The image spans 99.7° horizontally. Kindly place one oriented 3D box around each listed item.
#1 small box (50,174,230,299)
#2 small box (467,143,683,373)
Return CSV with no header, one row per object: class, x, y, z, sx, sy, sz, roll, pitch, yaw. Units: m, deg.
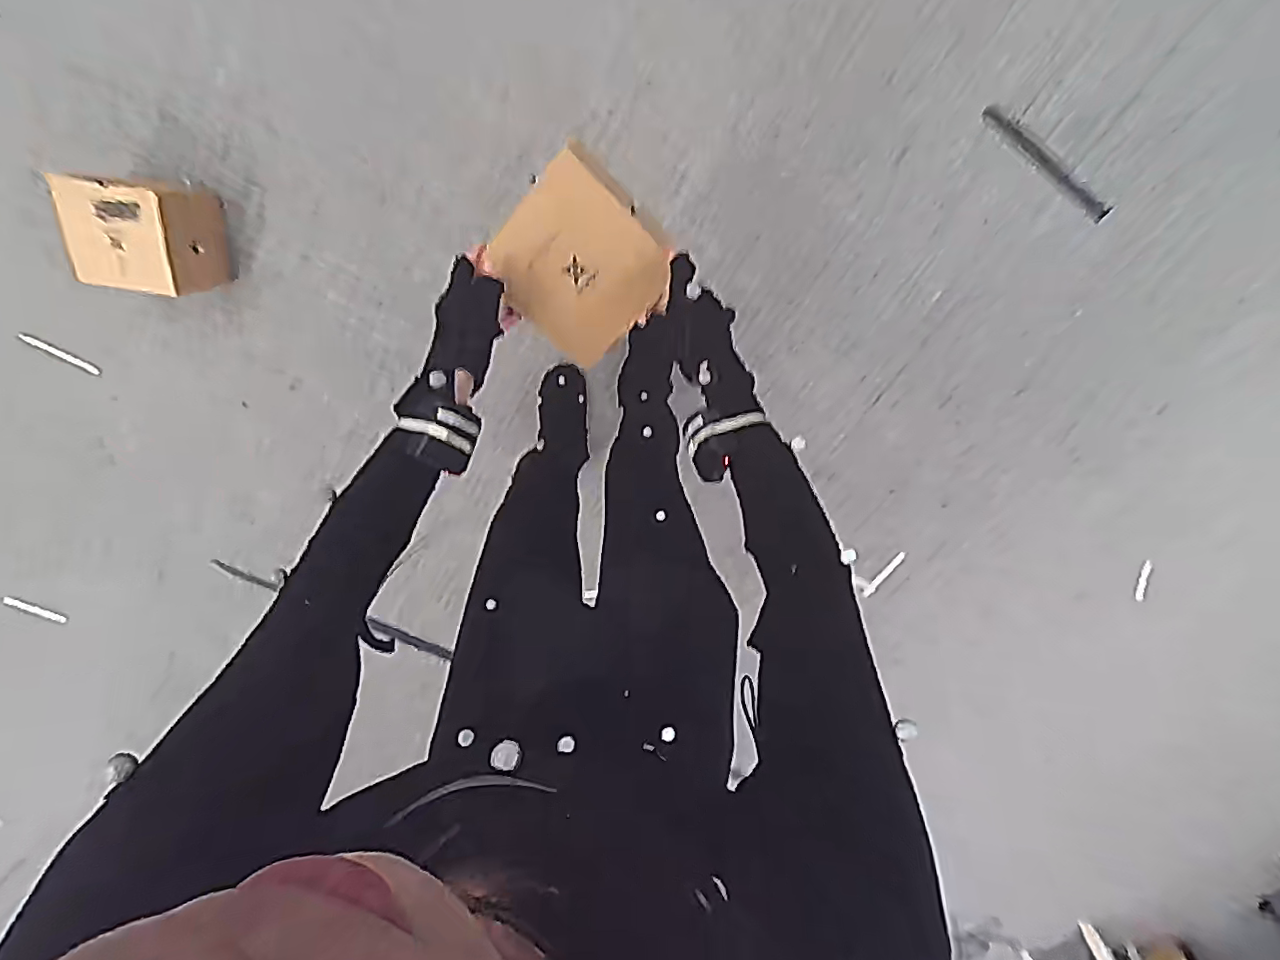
small box,-0.910,-0.453,1.006,0.168,0.176,0.179,8,117,-6
small box,-0.071,-0.269,0.645,0.179,0.176,0.168,38,115,-25
